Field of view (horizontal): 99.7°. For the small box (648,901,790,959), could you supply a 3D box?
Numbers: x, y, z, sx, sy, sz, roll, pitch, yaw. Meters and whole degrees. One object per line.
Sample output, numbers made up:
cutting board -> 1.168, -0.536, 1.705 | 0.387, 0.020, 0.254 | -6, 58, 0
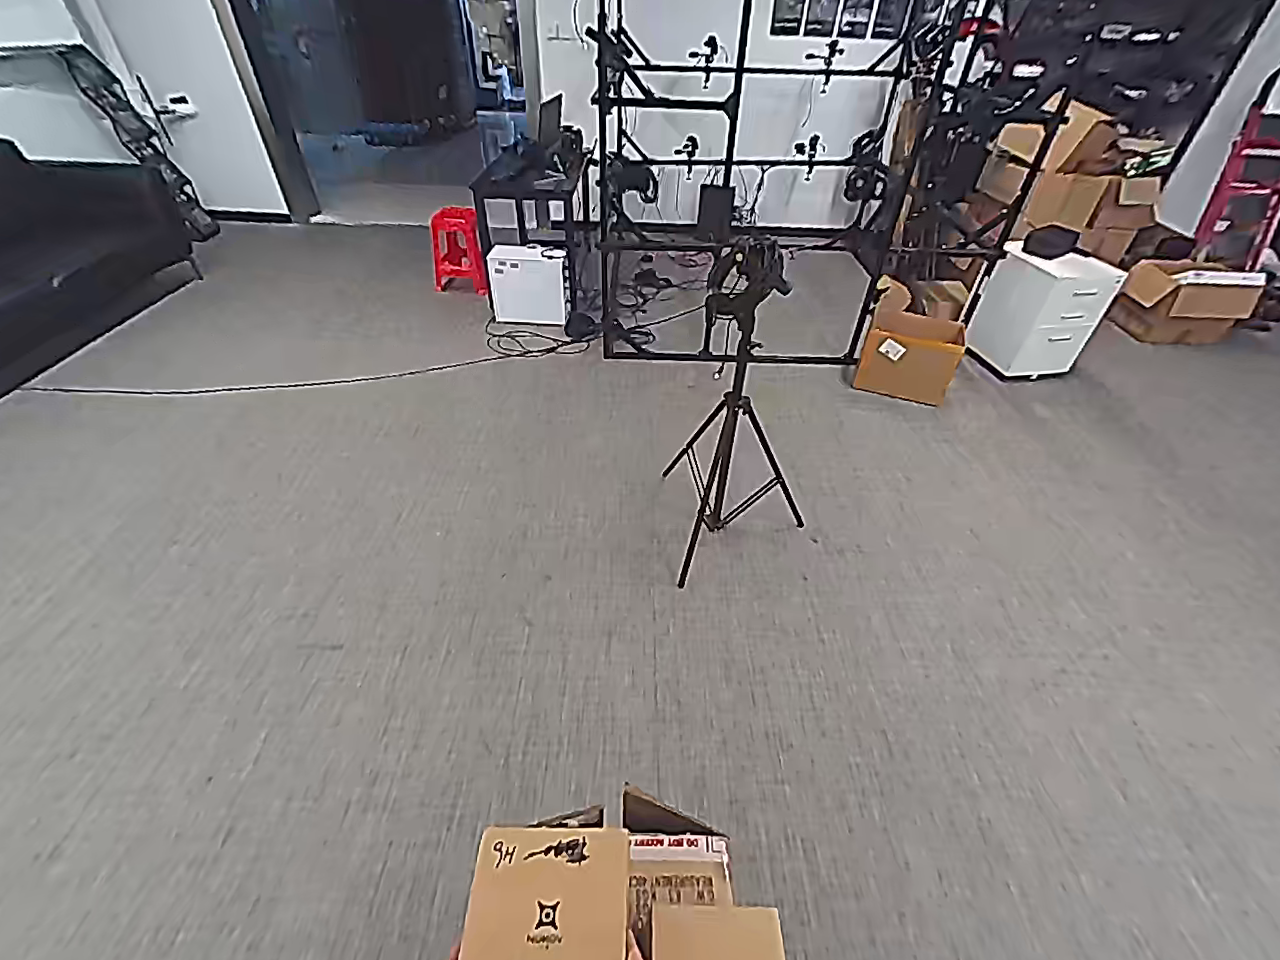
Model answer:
small box -> 0.097, 0.663, 0.686 | 0.168, 0.176, 0.179 | 2, 43, -2

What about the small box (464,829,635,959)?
small box -> -0.090, 0.510, 0.602 | 0.168, 0.176, 0.179 | 0, 44, 0
